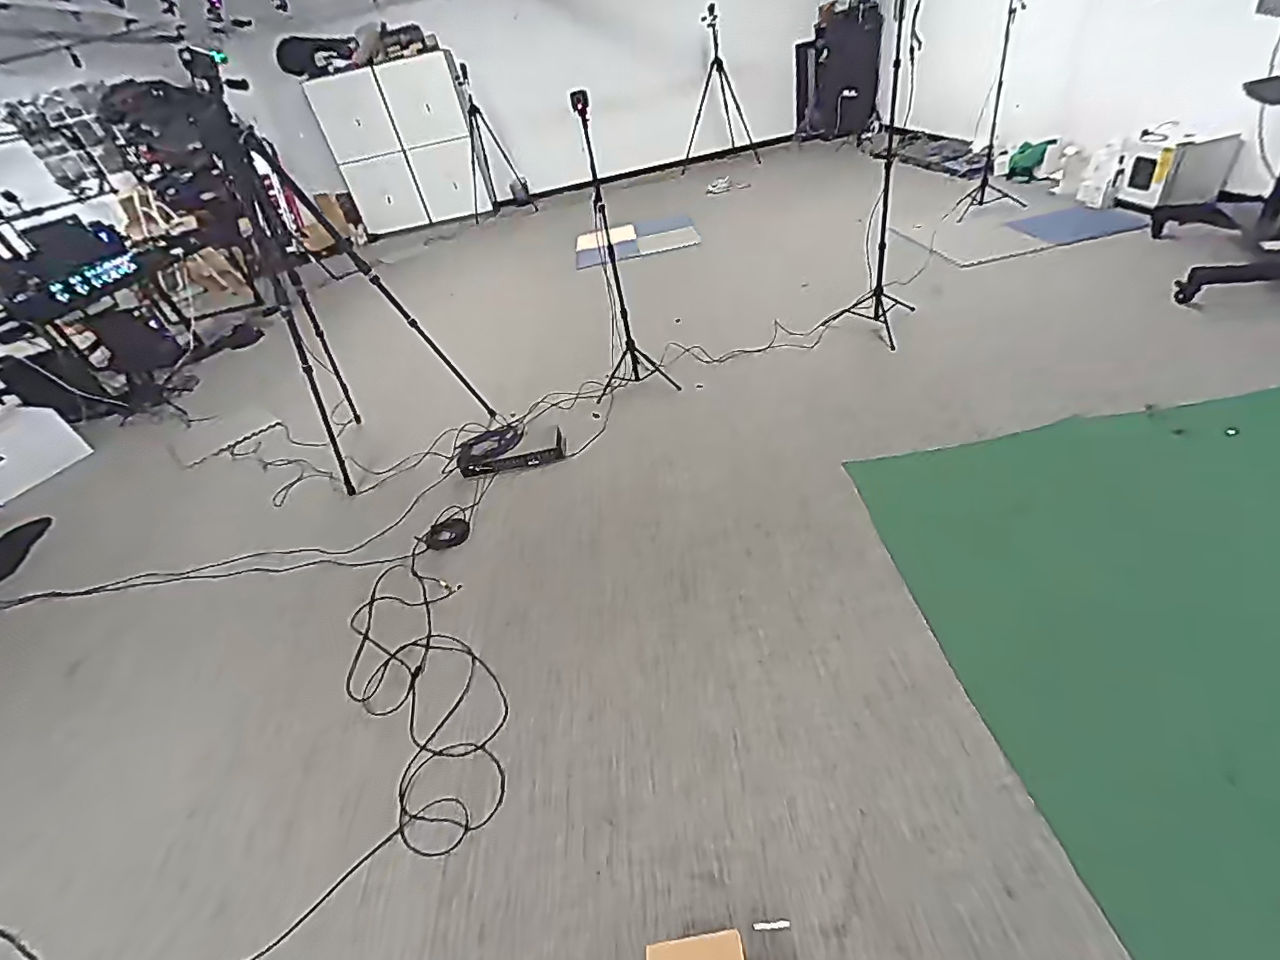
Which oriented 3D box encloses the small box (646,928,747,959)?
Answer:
[{"bbox_3d":[0.115,0.928,0.960,0.179,0.176,0.168,-12,39,1],"label":"small box"}]
